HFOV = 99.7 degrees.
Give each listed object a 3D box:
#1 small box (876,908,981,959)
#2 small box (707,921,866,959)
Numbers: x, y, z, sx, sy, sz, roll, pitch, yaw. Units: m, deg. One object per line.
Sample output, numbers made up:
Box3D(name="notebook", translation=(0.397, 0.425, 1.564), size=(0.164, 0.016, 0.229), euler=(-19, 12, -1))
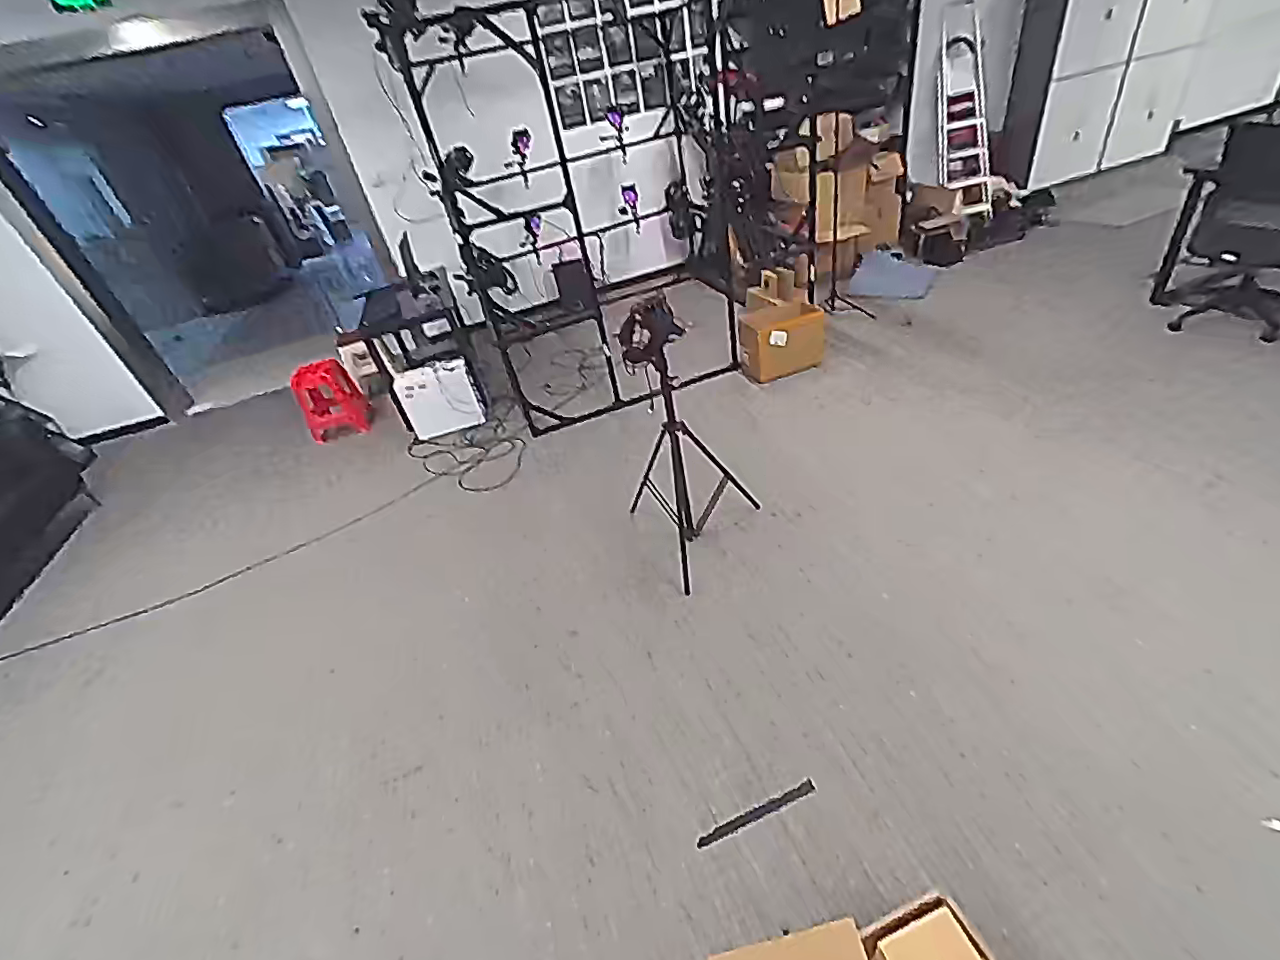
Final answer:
Box3D(name="small box", translation=(0.590, 1.006, 1.070), size=(0.168, 0.176, 0.179), euler=(-20, 39, -9))
Box3D(name="small box", translation=(0.184, 0.627, 0.613), size=(0.179, 0.176, 0.168), euler=(-16, 46, 0))
